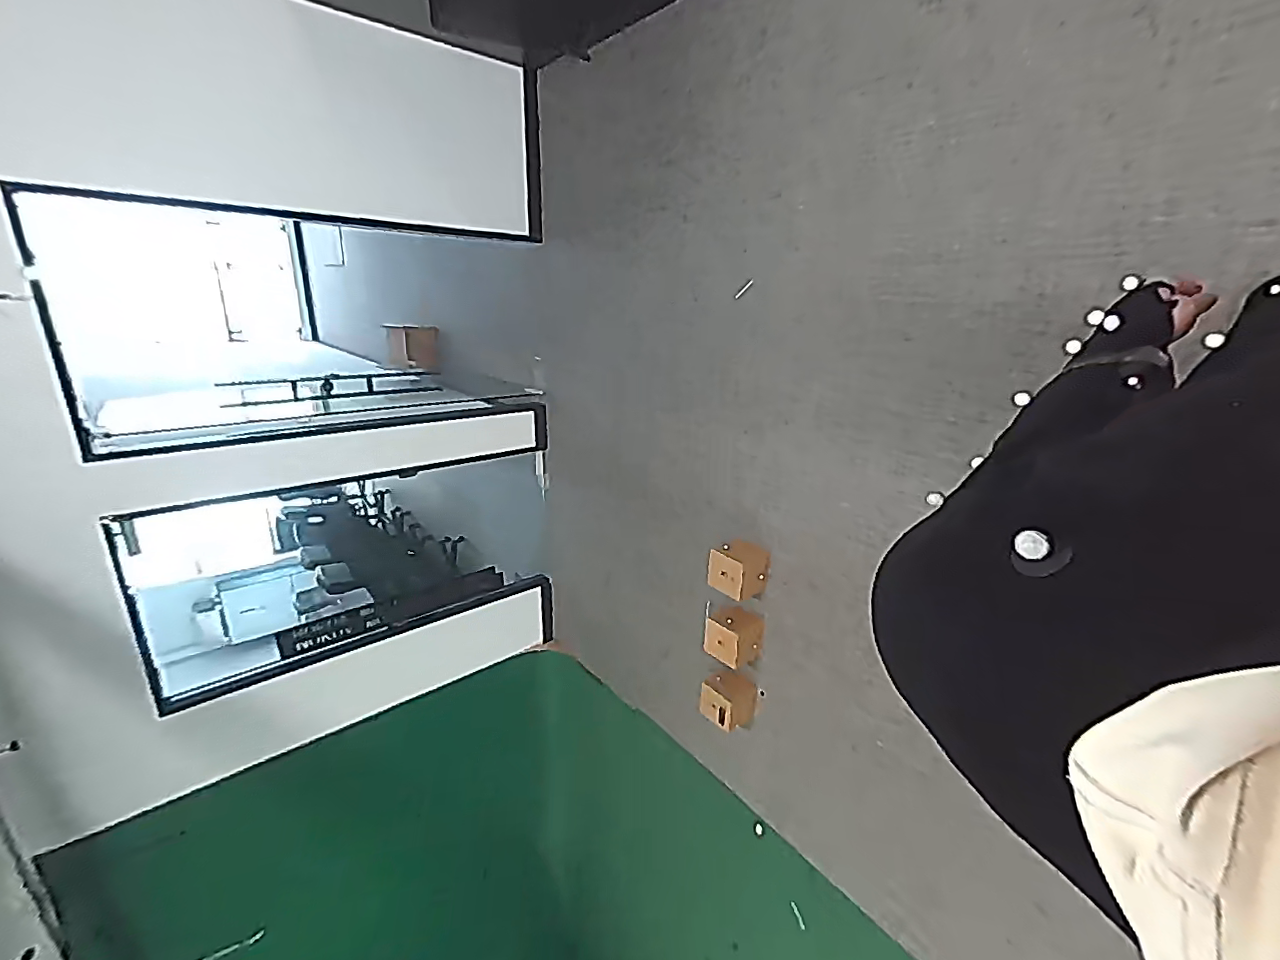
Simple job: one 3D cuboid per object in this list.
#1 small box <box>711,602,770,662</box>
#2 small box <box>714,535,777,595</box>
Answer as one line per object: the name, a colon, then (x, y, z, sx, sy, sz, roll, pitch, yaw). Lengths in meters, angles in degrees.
small box: (0.427, 0.637, 2.300, 0.179, 0.176, 0.168, 21, 116, 47)
small box: (0.430, 0.338, 2.202, 0.179, 0.176, 0.168, 25, 120, 46)
